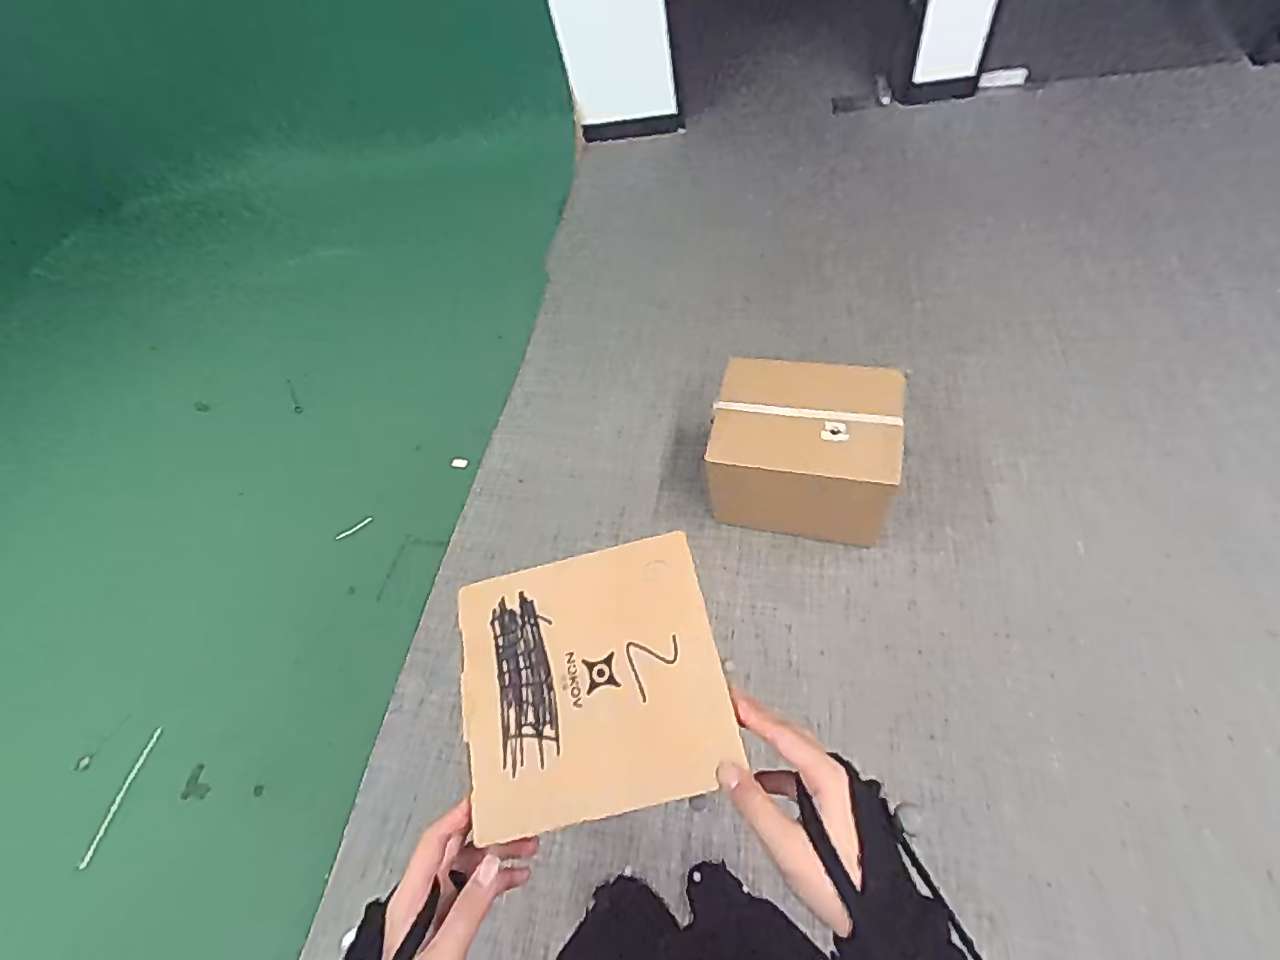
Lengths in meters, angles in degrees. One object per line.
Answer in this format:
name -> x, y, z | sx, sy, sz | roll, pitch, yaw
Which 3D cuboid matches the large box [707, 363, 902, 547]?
large box -> 0.393, -0.059, 1.336 | 0.408, 0.320, 0.320 | 8, 61, 16
